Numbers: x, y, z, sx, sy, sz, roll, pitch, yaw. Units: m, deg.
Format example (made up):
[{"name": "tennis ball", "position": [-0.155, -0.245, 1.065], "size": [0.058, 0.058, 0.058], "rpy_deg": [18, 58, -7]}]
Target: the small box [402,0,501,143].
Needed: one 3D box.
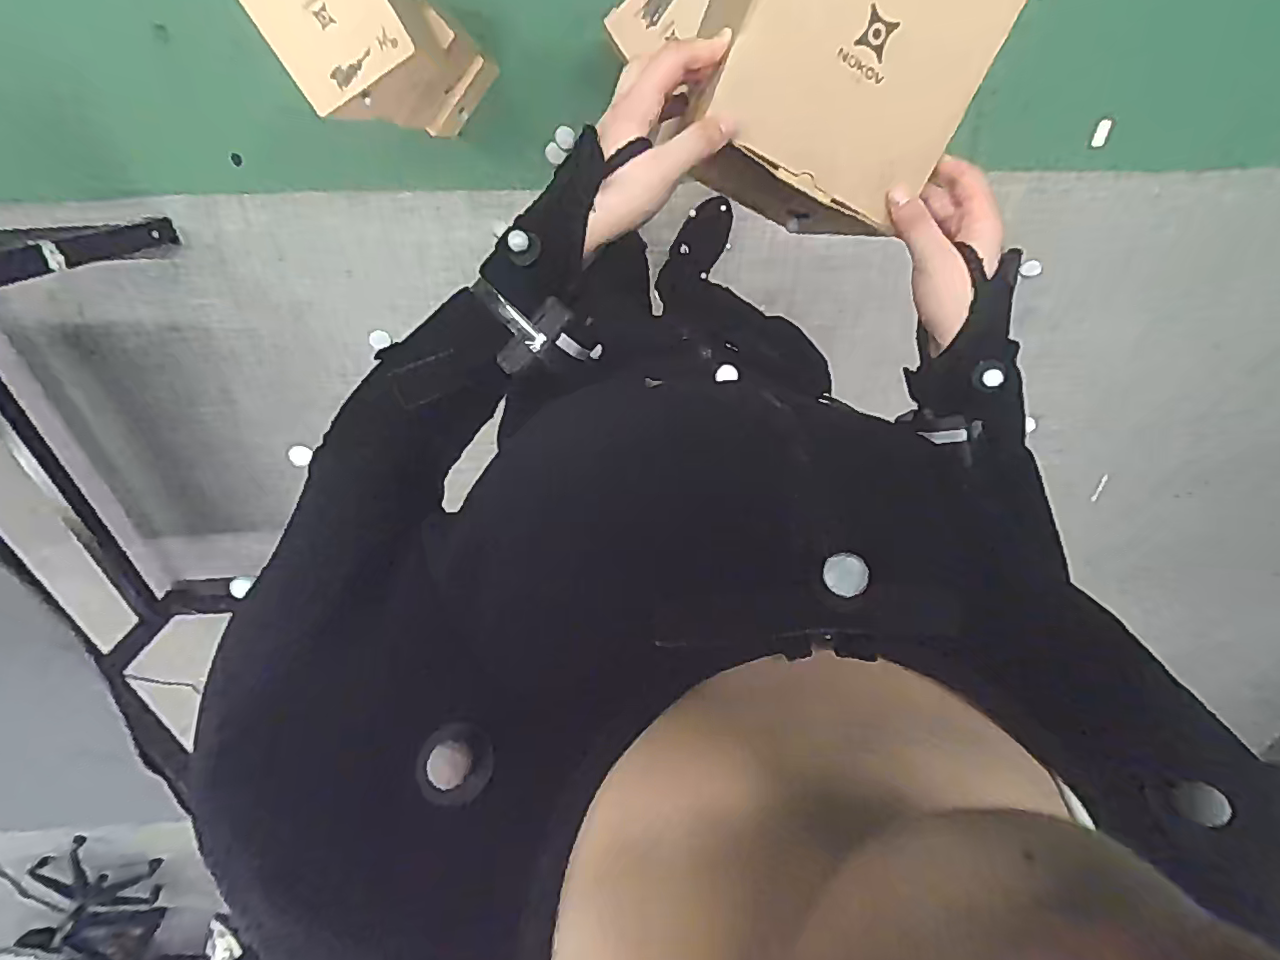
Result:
[{"name": "small box", "position": [-0.390, -0.781, 1.026], "size": [0.179, 0.176, 0.168], "rpy_deg": [39, 114, -22]}]

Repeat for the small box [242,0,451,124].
[{"name": "small box", "position": [-0.392, -0.618, 0.740], "size": [0.168, 0.176, 0.179], "rpy_deg": [-23, 120, 13]}]

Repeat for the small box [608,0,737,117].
[{"name": "small box", "position": [0.055, -0.815, 1.012], "size": [0.168, 0.176, 0.179], "rpy_deg": [-35, 118, 19]}]
